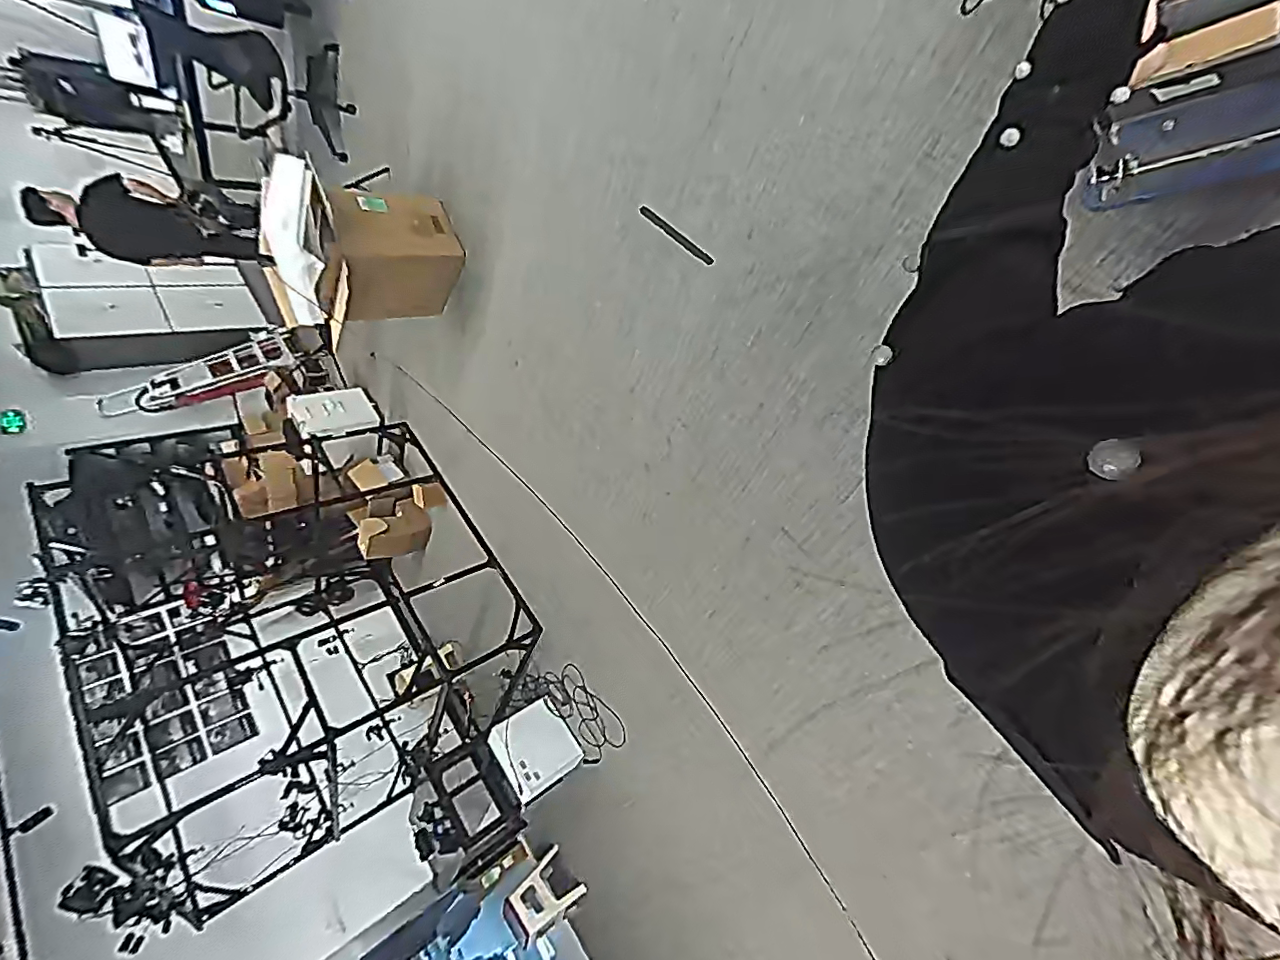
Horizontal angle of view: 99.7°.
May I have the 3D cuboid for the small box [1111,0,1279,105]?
[{"bbox_3d":[0.804,-0.678,0.784,0.168,0.176,0.179,1,106,47],"label":"small box"}]
